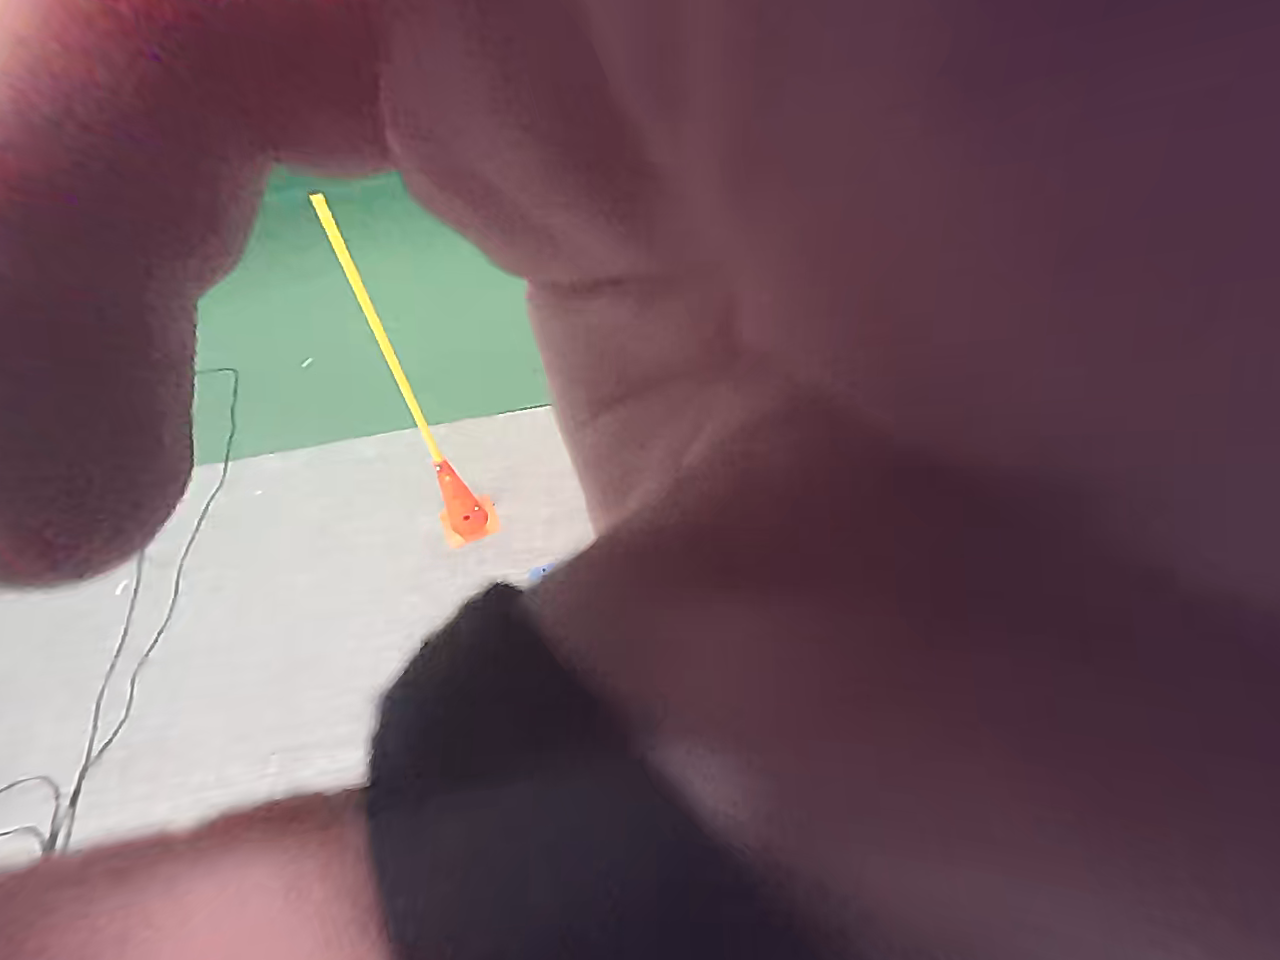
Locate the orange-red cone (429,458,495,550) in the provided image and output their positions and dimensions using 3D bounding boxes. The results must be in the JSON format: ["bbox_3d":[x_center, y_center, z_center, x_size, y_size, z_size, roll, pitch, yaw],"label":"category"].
[{"bbox_3d":[-0.677,0.057,1.937,0.199,0.360,0.198,-22,50,-13],"label":"orange-red cone"}]
